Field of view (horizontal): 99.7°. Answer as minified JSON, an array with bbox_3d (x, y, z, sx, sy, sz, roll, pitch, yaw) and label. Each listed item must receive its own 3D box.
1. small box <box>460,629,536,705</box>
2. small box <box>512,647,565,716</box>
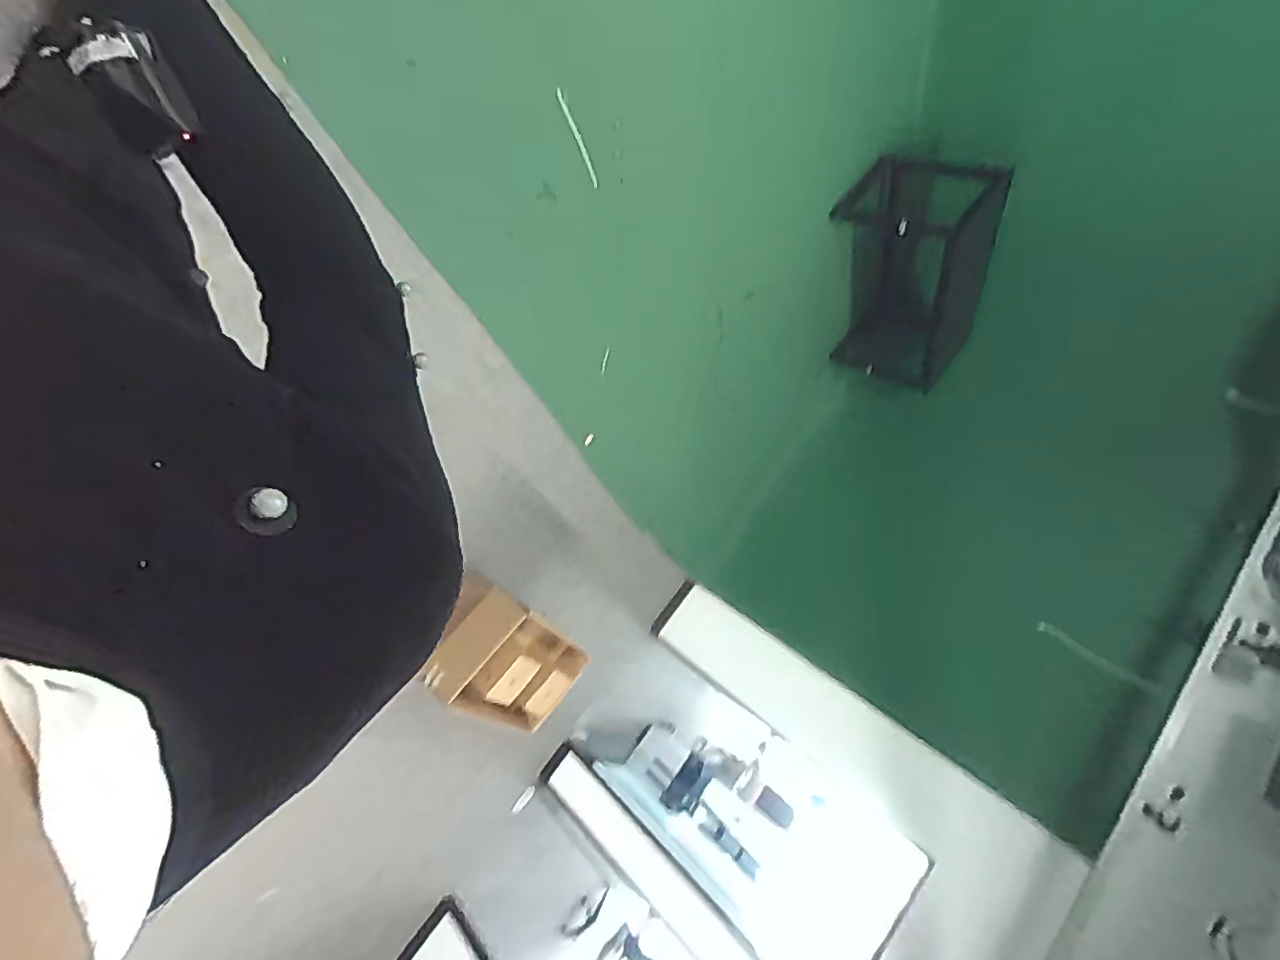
[{"bbox_3d":[-0.515,0.667,1.929,0.179,0.176,0.168,-50,147,-14],"label":"small box"},{"bbox_3d":[-0.435,0.796,2.150,0.179,0.176,0.168,-48,145,-16],"label":"small box"}]
